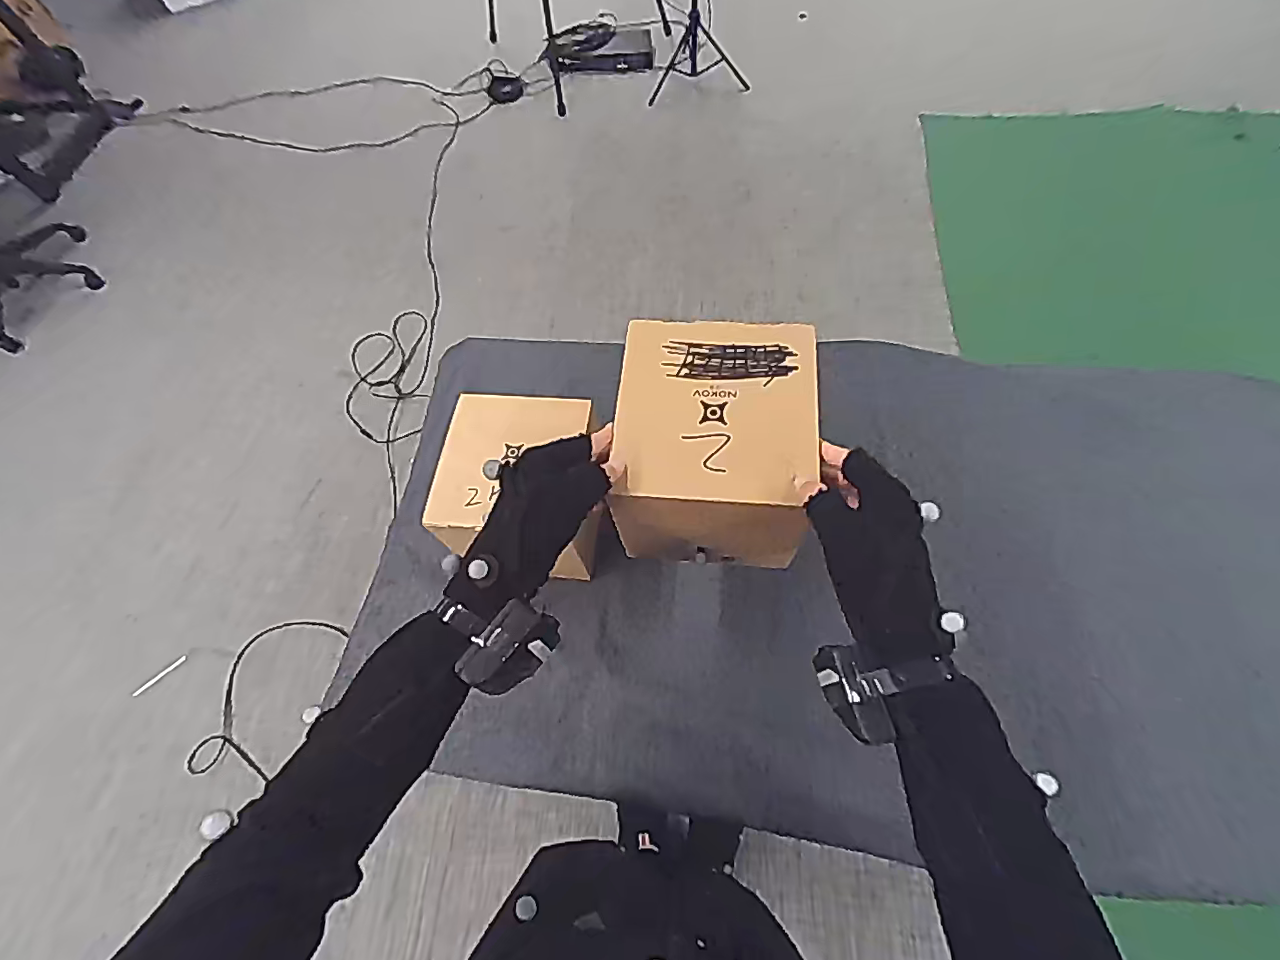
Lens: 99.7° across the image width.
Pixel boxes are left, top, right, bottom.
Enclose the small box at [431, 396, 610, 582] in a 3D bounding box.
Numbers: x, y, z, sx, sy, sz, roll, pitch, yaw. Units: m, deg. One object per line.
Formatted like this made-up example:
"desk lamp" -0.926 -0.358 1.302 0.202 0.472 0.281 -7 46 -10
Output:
"small box" -0.134 0.015 0.689 0.168 0.176 0.179 4 63 7
